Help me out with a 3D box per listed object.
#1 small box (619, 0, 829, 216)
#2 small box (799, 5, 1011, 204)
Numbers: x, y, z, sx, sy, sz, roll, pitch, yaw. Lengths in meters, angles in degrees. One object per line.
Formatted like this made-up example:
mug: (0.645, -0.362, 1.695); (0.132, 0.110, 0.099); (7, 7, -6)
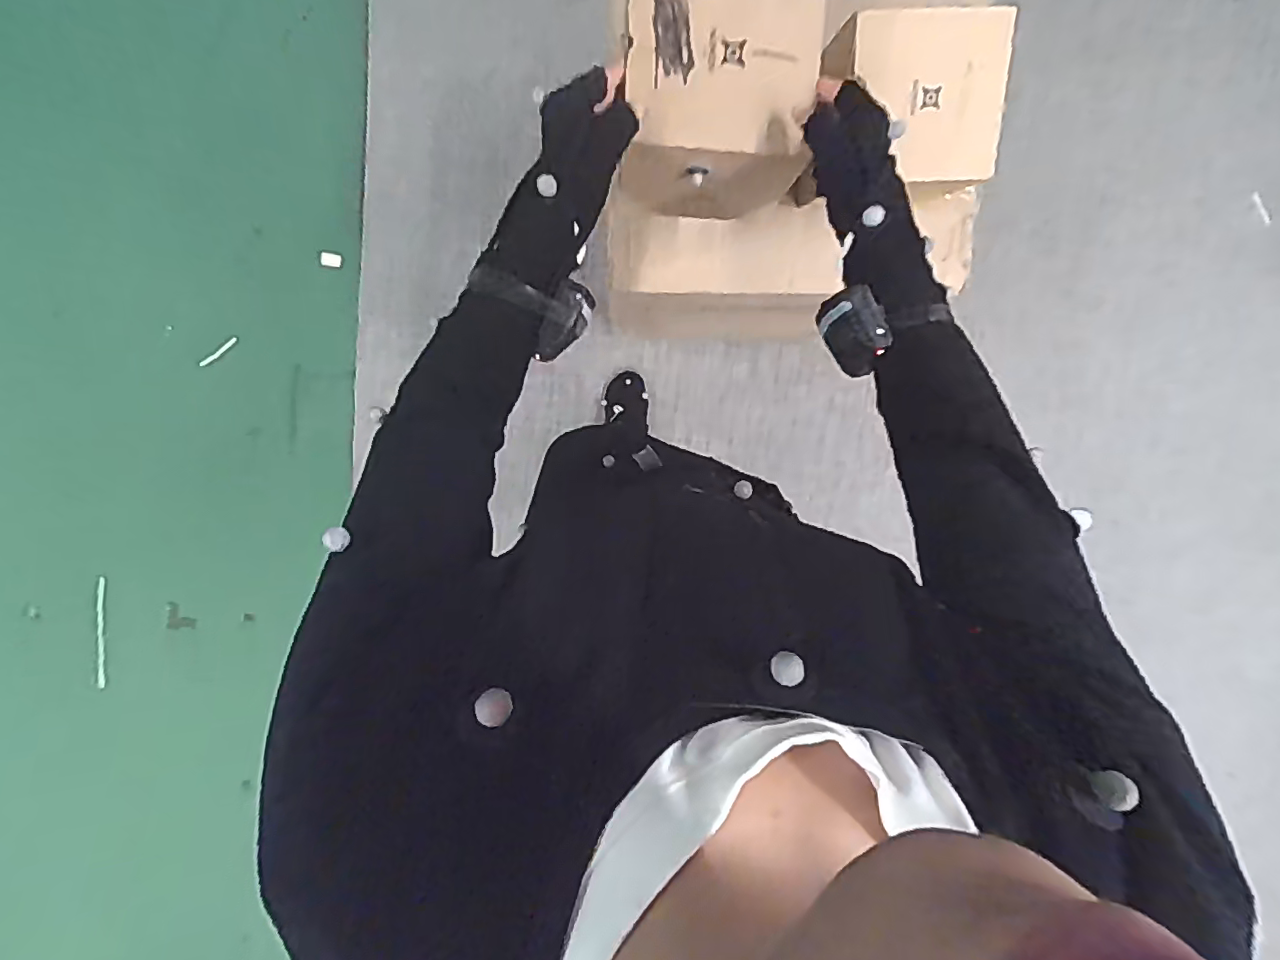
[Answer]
small box: (0.070, -0.384, 0.545); (0.179, 0.176, 0.168); (2, 96, -5)
small box: (0.310, -0.450, 0.674); (0.179, 0.176, 0.168); (-3, 108, -3)
